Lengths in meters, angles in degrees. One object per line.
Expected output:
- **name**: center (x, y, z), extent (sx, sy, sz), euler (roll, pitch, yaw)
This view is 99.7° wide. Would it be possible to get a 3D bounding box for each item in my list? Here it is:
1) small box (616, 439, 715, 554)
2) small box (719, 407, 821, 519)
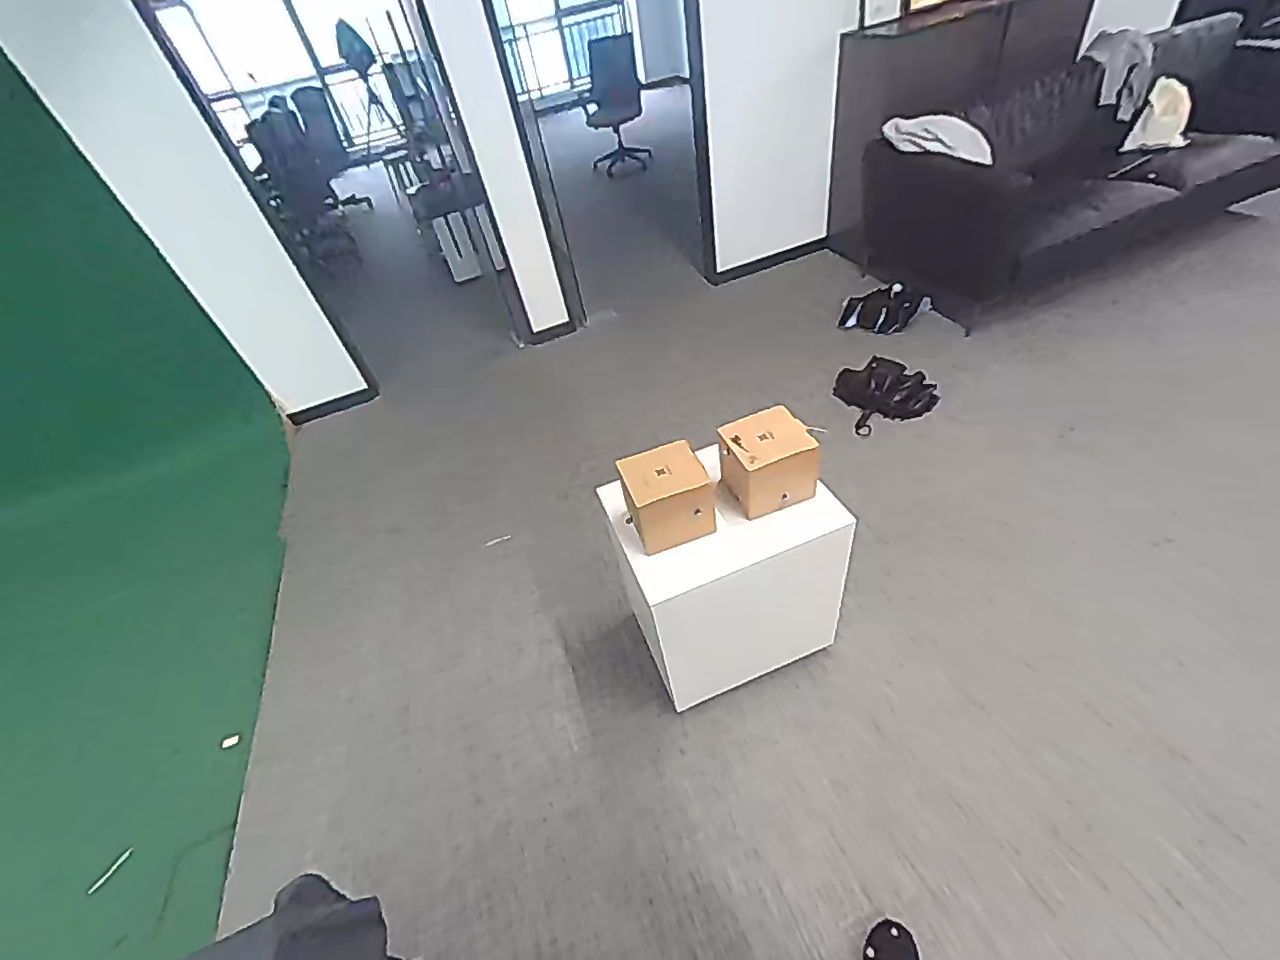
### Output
- **small box**: center (0.061, 0.039, 1.236), extent (0.179, 0.176, 0.168), euler (-20, 43, -8)
- **small box**: center (0.296, -0.038, 1.266), extent (0.179, 0.176, 0.168), euler (-19, 44, -8)
